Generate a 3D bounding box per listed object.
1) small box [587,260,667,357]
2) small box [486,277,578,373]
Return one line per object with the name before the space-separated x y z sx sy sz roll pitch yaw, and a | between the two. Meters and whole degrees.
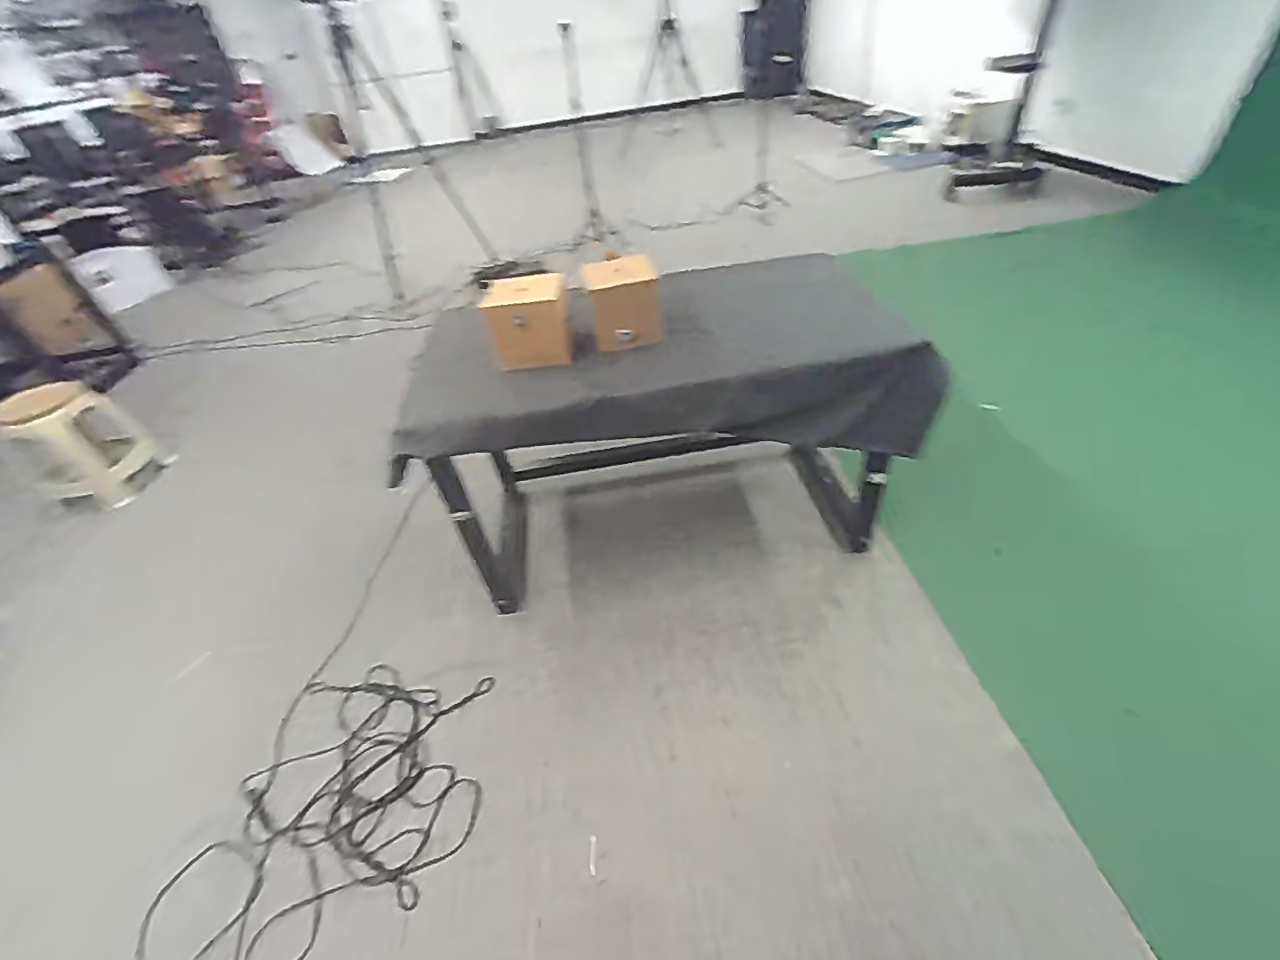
small box | -0.032 -0.430 1.356 0.168 0.176 0.179 -12 41 -4
small box | -0.256 -0.379 1.331 0.179 0.176 0.168 -4 40 5
